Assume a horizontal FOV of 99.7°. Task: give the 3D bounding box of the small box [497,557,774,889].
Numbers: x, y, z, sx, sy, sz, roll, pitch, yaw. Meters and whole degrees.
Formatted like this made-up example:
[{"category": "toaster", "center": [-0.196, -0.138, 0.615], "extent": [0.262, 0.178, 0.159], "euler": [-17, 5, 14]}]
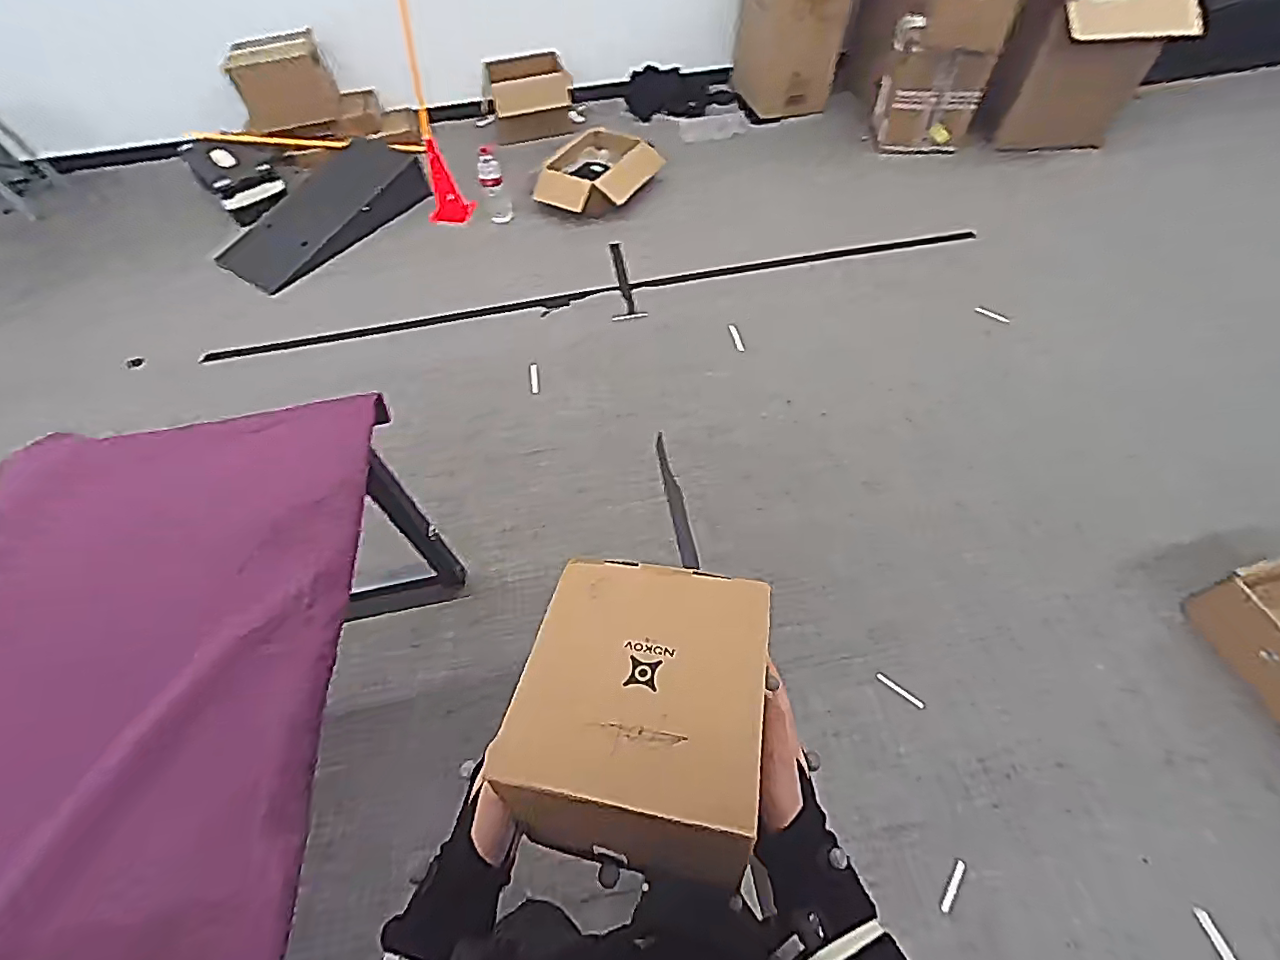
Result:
[{"category": "small box", "center": [0.011, 0.189, 0.432], "extent": [0.168, 0.176, 0.179], "euler": [6, 45, 12]}]
